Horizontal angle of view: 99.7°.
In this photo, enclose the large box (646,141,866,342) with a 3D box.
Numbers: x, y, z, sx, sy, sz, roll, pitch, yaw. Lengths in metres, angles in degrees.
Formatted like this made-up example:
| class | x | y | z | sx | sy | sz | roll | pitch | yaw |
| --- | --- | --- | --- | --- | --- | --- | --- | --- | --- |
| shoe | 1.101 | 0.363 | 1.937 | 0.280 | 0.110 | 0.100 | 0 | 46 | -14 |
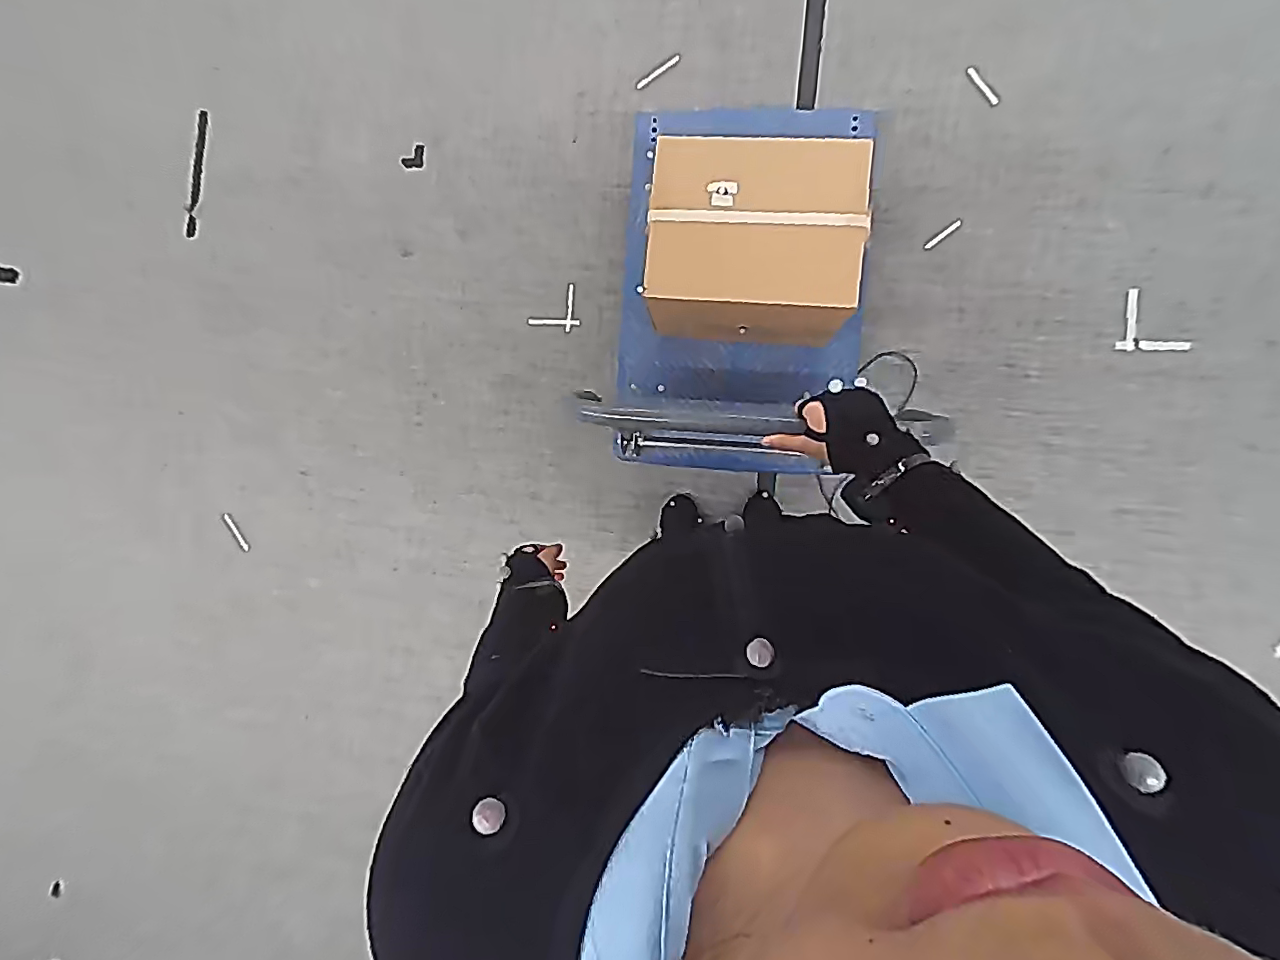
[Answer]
| class | x | y | z | sx | sy | sz | roll | pitch | yaw |
| --- | --- | --- | --- | --- | --- | --- | --- | --- | --- |
| large box | 0.241 | -0.493 | 1.185 | 0.408 | 0.320 | 0.320 | 5 | 90 | 9 |
